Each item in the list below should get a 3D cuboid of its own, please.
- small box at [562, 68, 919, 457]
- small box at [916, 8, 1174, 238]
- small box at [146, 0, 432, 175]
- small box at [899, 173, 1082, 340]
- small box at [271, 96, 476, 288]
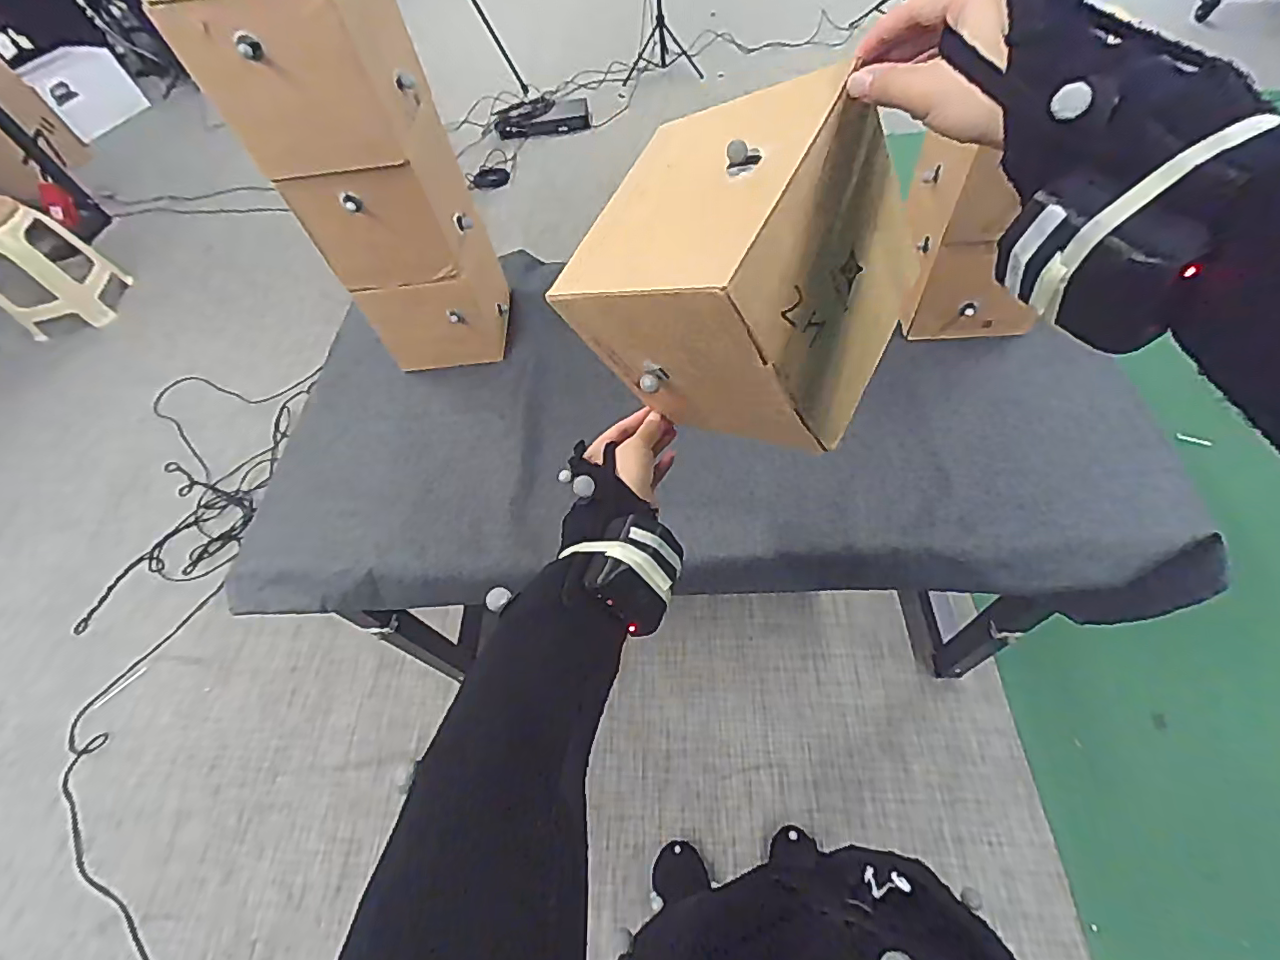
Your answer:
[{"bbox_3d":[0.074,-0.145,0.401,0.176,0.168,0.179,19,73,46],"label":"small box"},{"bbox_3d":[0.449,-0.407,0.638,0.168,0.176,0.179,0,60,8],"label":"small box"},{"bbox_3d":[-0.361,-0.464,0.597,0.179,0.176,0.168,-4,59,4],"label":"small box"},{"bbox_3d":[0.473,-0.325,0.778,0.168,0.176,0.179,-1,59,8],"label":"small box"},{"bbox_3d":[-0.346,-0.385,0.741,0.179,0.176,0.168,-5,59,3],"label":"small box"}]
